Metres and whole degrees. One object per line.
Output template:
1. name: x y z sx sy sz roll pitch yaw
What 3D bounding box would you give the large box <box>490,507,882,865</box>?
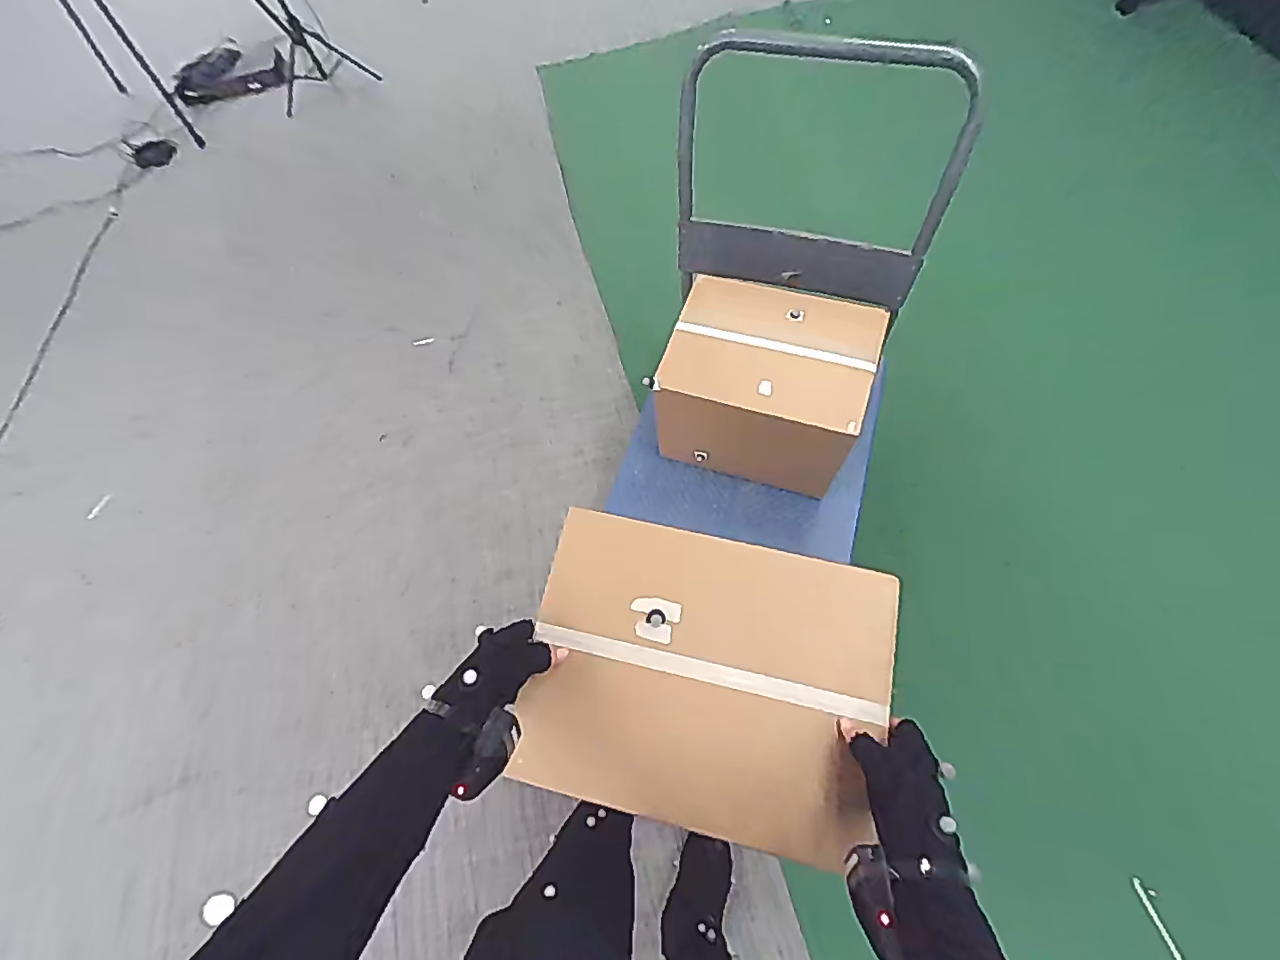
1. large box: 0.072 0.256 0.756 0.408 0.320 0.320 12 73 9
